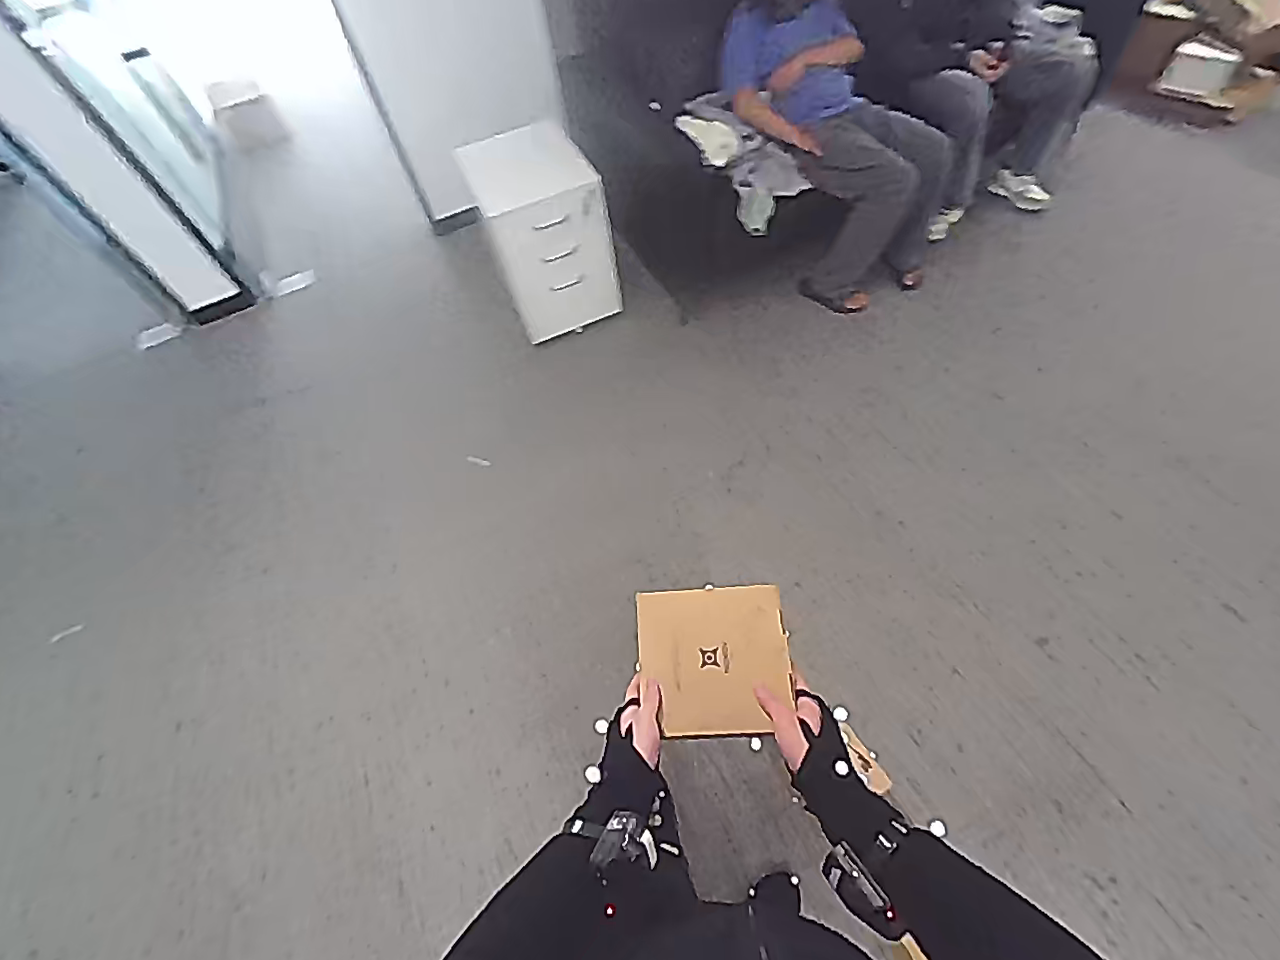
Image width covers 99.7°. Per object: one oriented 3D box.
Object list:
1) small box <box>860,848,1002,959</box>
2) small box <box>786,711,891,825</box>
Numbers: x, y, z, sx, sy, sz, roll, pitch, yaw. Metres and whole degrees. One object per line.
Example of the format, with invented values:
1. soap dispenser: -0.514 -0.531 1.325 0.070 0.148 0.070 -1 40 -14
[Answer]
1. small box: 0.577 0.884 1.104 0.168 0.176 0.179 -23 56 -5
2. small box: 0.453 0.674 1.256 0.179 0.176 0.168 22 60 22
